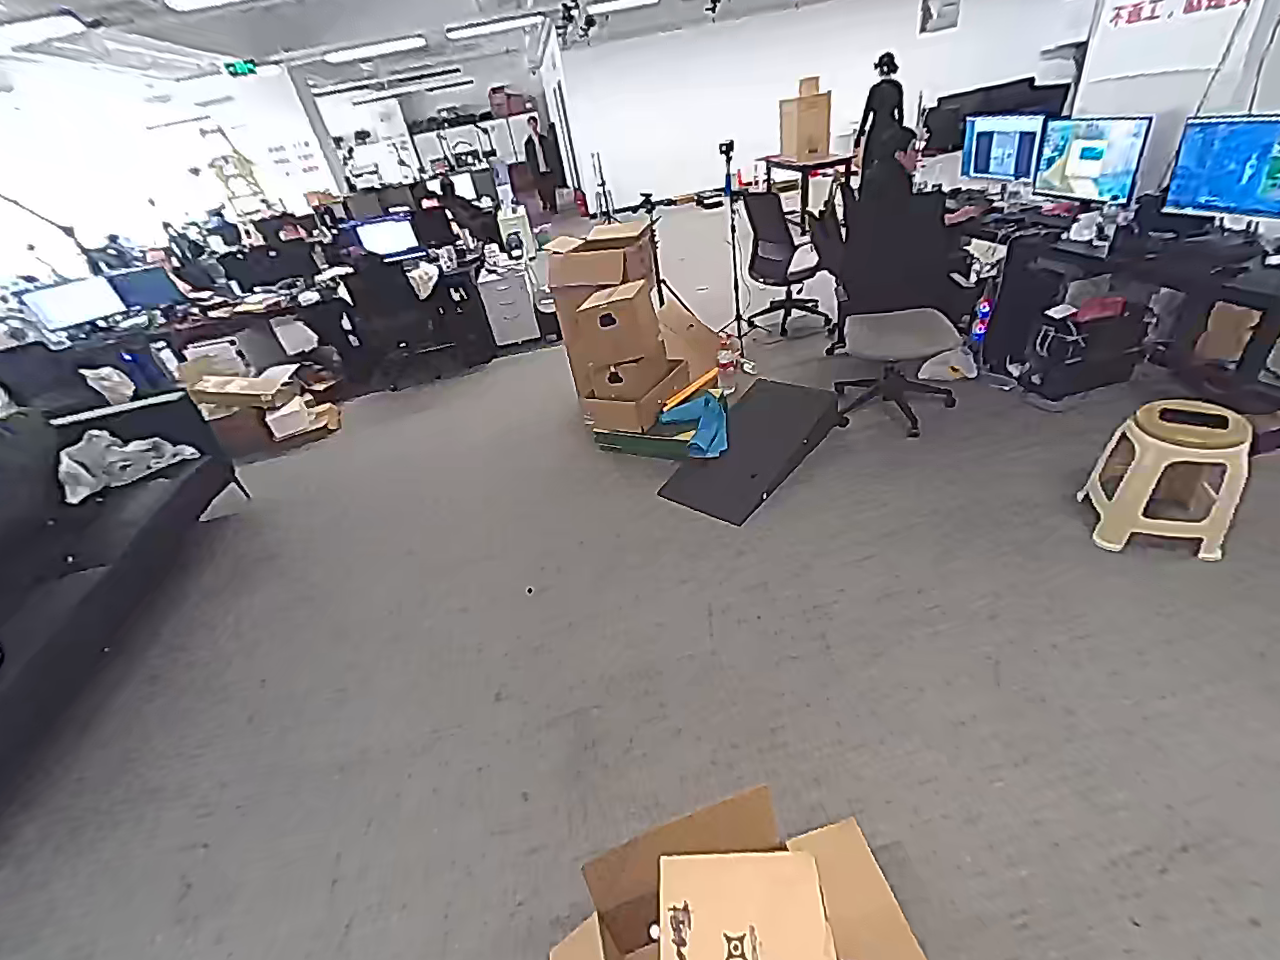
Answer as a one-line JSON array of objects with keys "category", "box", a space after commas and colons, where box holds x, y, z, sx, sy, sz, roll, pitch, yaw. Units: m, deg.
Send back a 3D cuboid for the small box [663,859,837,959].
[{"category": "small box", "box": [0.124, 0.539, 0.595, 0.179, 0.176, 0.168, -8, 39, 9]}]
